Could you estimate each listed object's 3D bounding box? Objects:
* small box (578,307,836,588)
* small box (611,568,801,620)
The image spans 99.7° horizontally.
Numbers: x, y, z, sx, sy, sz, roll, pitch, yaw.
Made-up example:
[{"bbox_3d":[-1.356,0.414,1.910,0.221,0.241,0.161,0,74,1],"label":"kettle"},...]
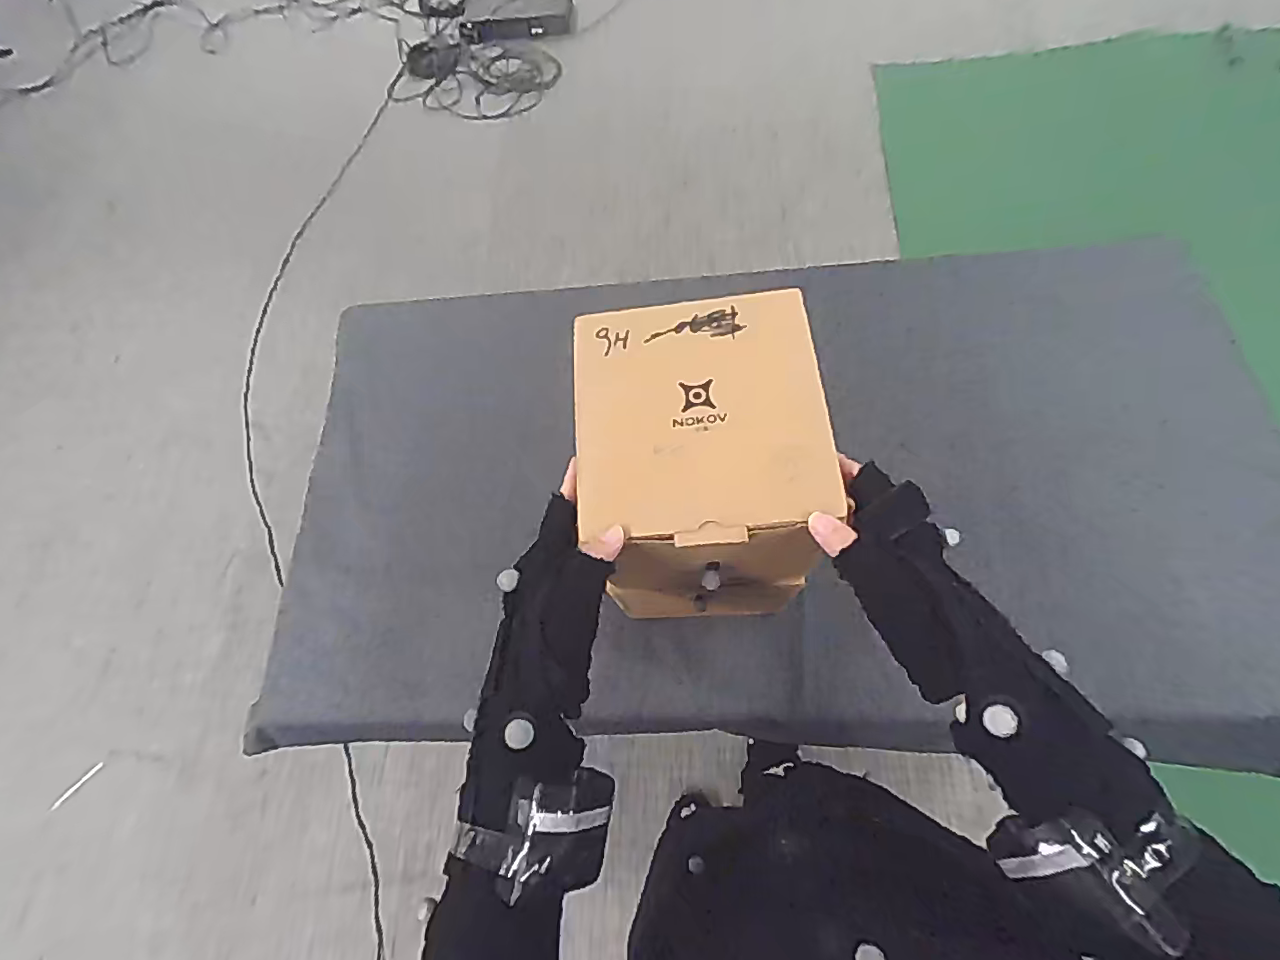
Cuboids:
[{"bbox_3d":[0.048,-0.010,0.446,0.168,0.176,0.179,-6,68,5],"label":"small box"},{"bbox_3d":[0.066,0.058,0.594,0.179,0.176,0.168,-4,68,4],"label":"small box"}]
